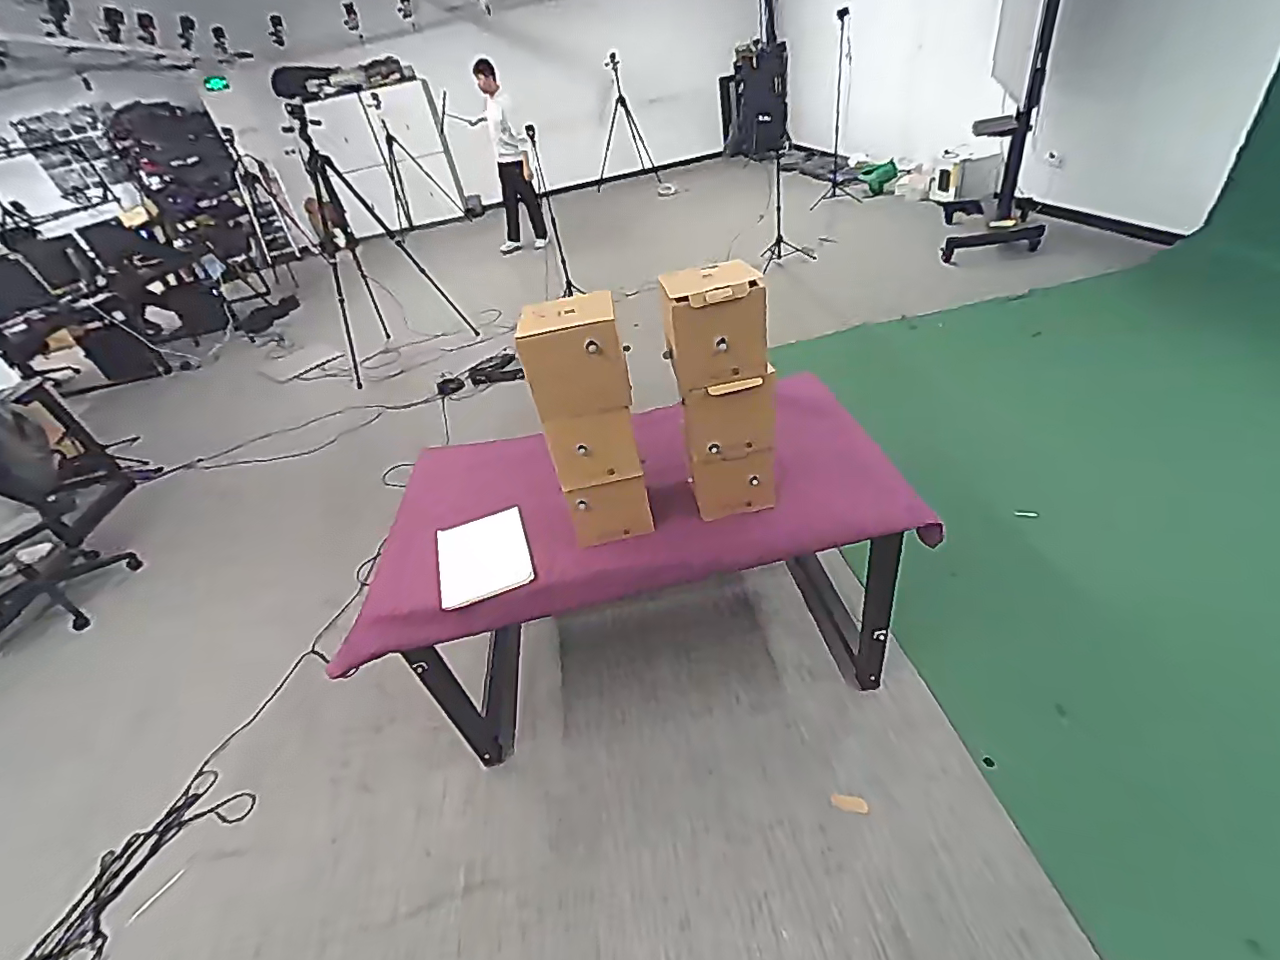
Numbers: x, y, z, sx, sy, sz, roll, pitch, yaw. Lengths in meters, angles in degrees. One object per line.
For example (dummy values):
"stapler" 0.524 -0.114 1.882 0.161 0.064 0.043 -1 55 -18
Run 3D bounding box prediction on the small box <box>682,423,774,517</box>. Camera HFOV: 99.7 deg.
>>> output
"small box" 0.198 -0.032 1.215 0.168 0.176 0.179 -11 36 0

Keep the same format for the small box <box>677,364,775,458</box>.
"small box" 0.176 -0.159 1.115 0.168 0.176 0.179 -12 35 -1

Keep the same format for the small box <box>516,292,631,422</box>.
"small box" -0.114 -0.230 1.012 0.179 0.176 0.168 -11 35 3

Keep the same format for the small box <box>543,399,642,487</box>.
"small box" -0.095 -0.101 1.114 0.168 0.176 0.179 -12 35 1

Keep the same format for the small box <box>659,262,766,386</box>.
"small box" 0.137 -0.287 1.019 0.168 0.176 0.179 -10 37 0
